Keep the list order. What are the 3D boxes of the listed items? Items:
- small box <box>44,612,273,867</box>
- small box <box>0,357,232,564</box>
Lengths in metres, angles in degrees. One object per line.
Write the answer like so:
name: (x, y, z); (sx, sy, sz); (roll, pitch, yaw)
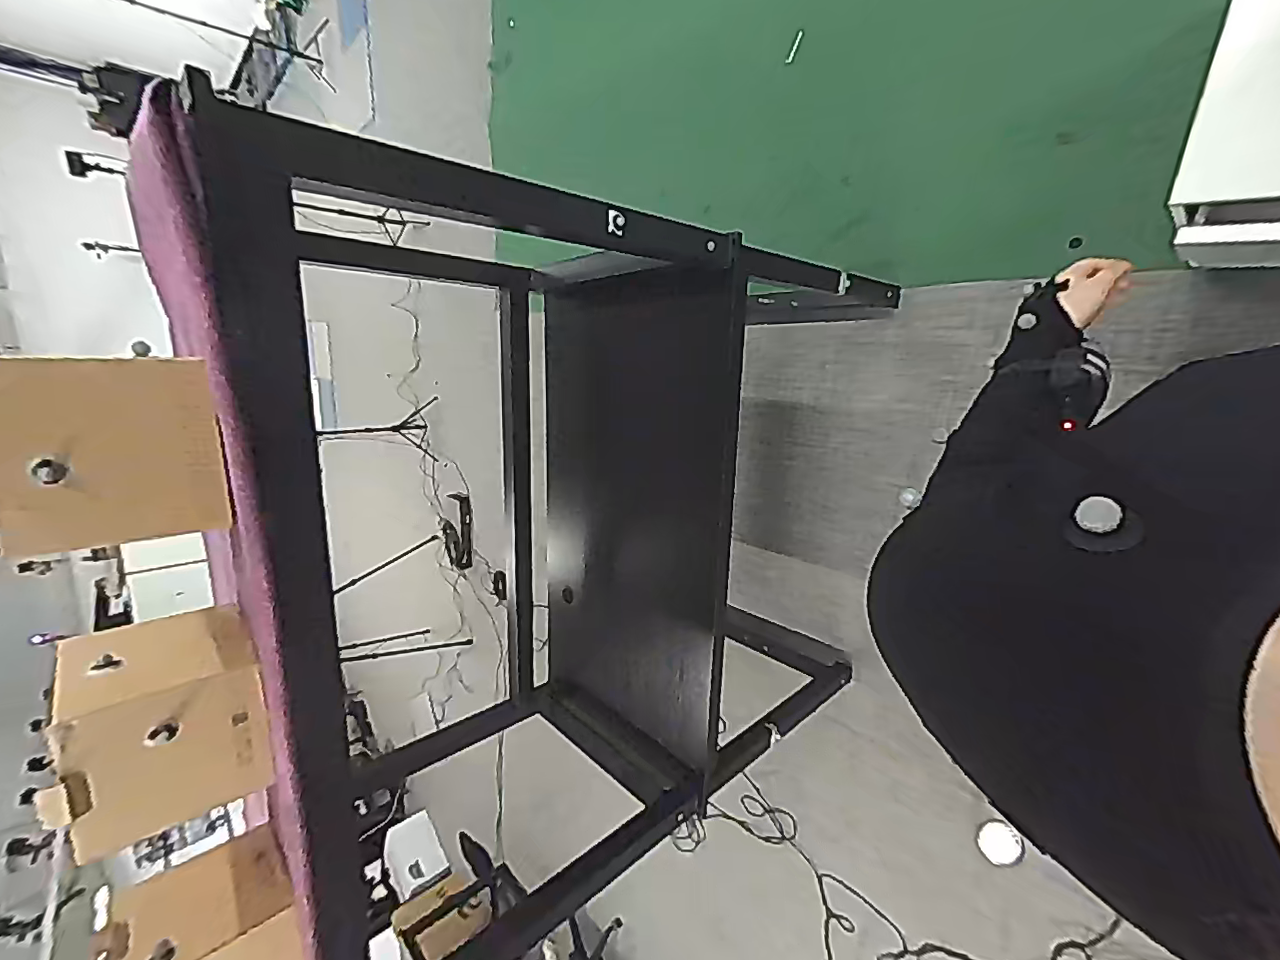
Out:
small box: (-0.534, 0.271, 0.618); (0.179, 0.176, 0.168); (18, 110, 45)
small box: (-0.539, -0.035, 0.556); (0.168, 0.176, 0.179); (14, 108, 47)
